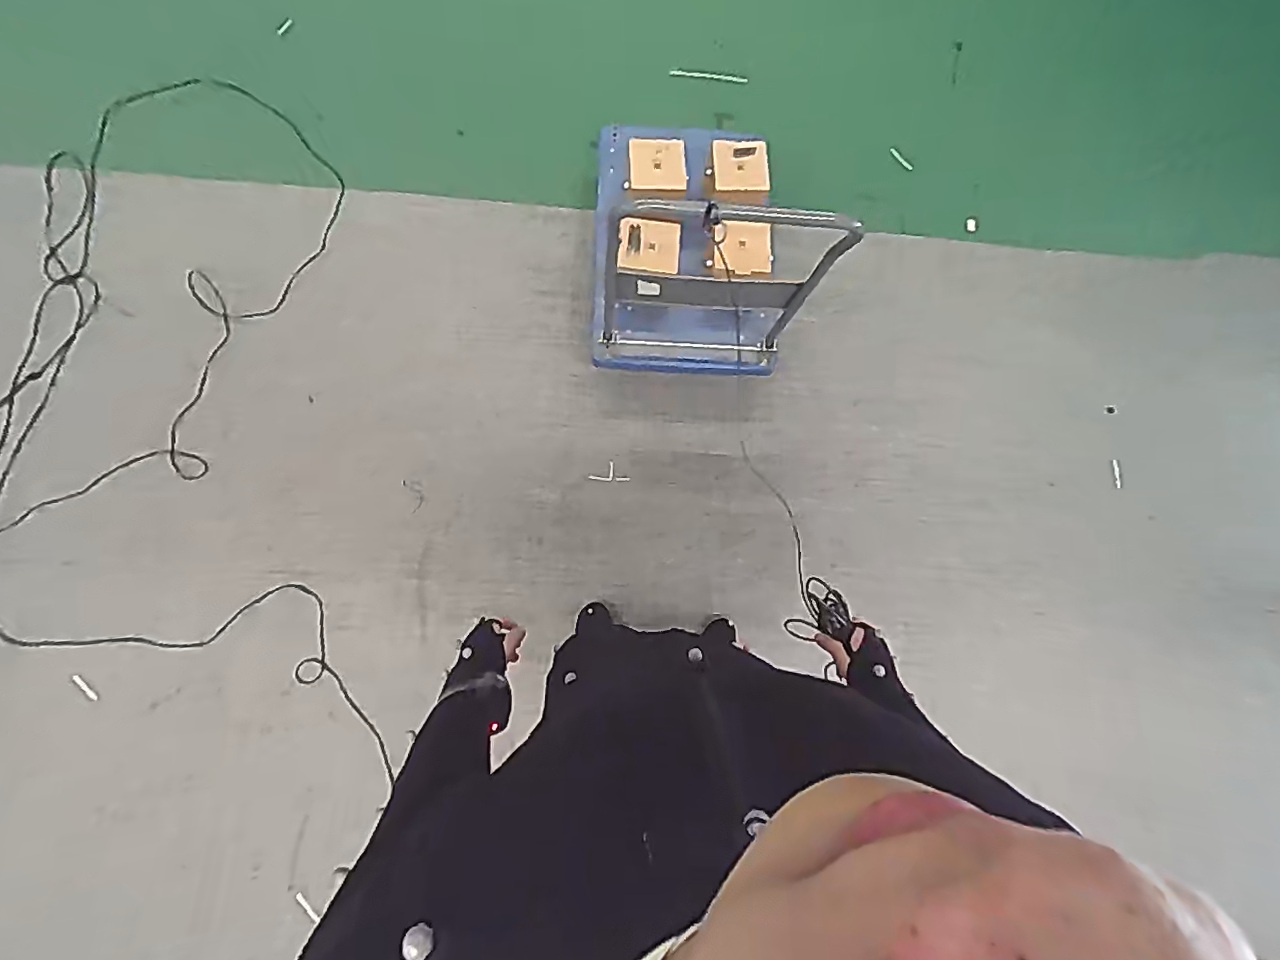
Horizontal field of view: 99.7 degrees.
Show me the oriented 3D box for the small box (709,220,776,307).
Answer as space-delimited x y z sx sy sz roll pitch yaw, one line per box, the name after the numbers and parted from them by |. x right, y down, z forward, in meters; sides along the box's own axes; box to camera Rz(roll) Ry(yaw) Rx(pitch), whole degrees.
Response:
0.304 -0.647 1.626 0.168 0.176 0.179 3 78 -3 | small box

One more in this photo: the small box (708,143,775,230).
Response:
0.311 -0.910 1.686 0.168 0.176 0.179 -2 78 -3 | small box

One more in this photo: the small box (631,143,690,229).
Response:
0.060 -0.901 1.670 0.168 0.176 0.179 -1 77 -4 | small box
